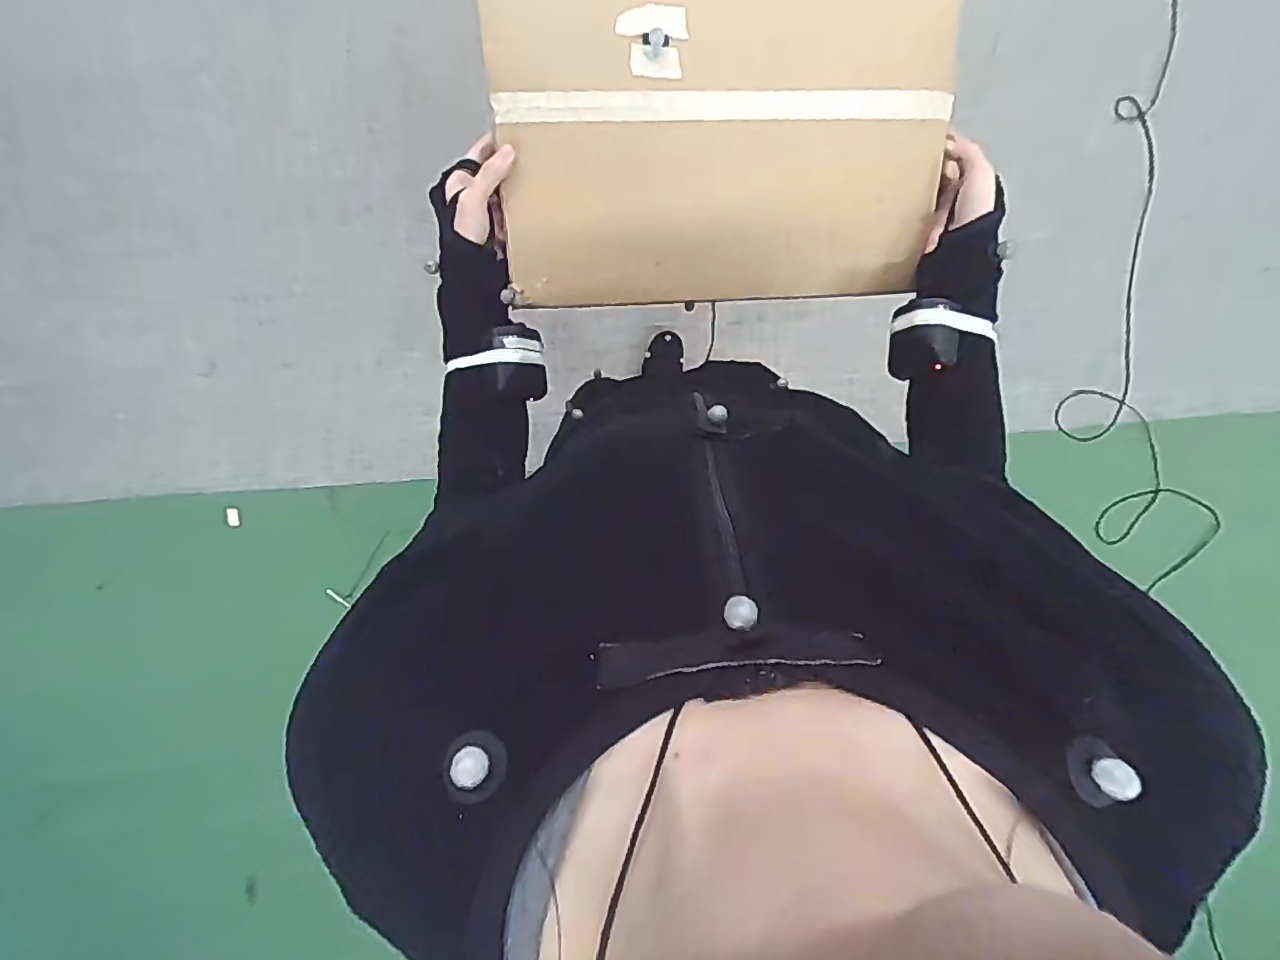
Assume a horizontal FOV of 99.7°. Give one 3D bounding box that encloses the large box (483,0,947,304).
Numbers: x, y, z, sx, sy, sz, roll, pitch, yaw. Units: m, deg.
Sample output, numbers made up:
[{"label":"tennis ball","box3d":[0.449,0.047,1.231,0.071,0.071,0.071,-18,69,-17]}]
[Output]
[{"label":"large box","box3d":[0.057,-0.381,0.619,0.408,0.320,0.320,-4,111,-6]}]
